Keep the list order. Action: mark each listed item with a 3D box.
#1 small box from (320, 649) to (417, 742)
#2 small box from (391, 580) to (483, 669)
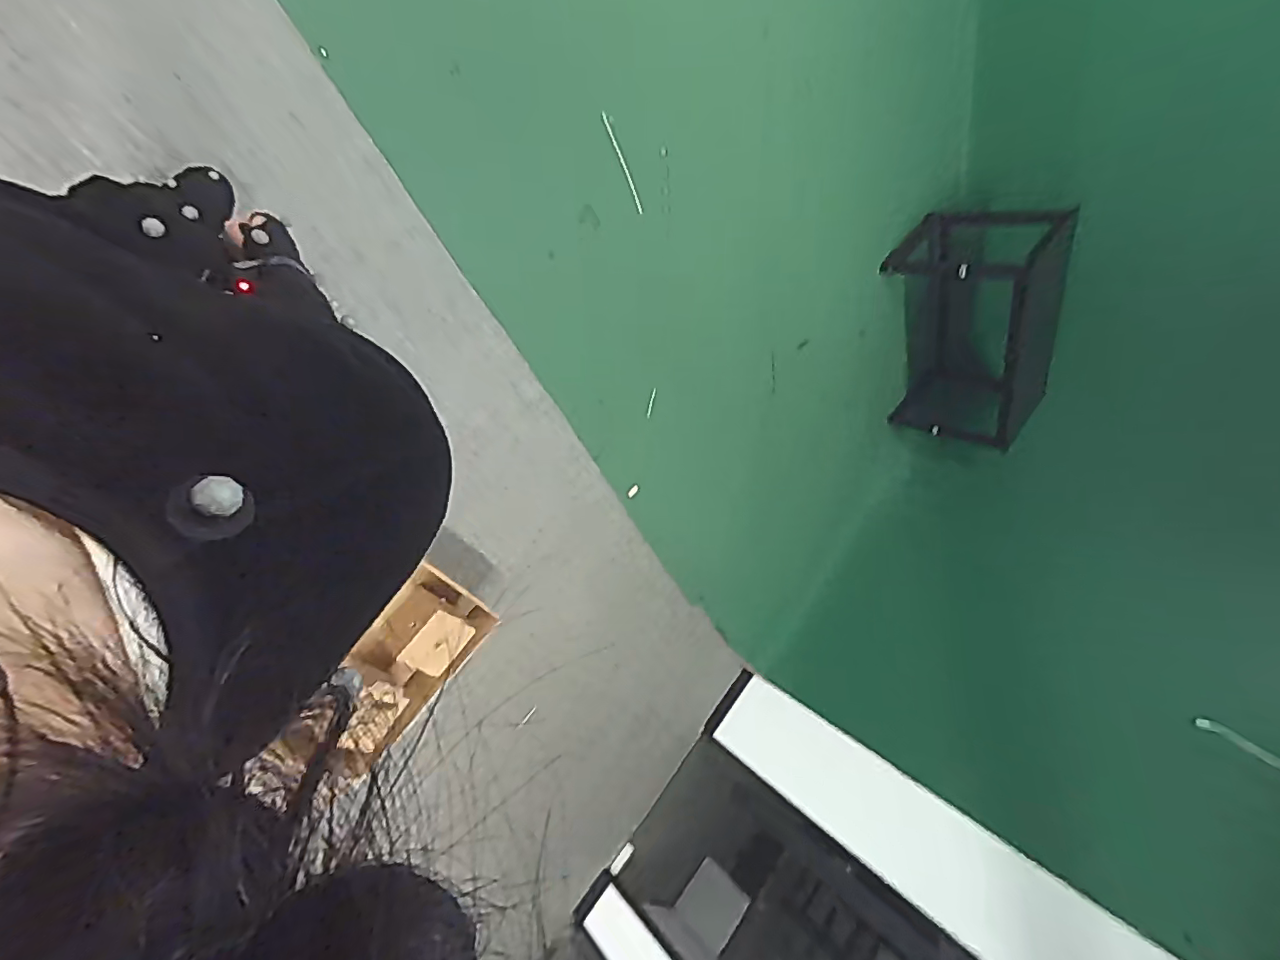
[{"bbox_3d":[-0.795,0.622,1.573,0.179,0.176,0.168,-54,135,-10],"label":"small box"},{"bbox_3d":[-0.622,0.434,1.647,0.179,0.176,0.168,-50,133,-12],"label":"small box"}]
